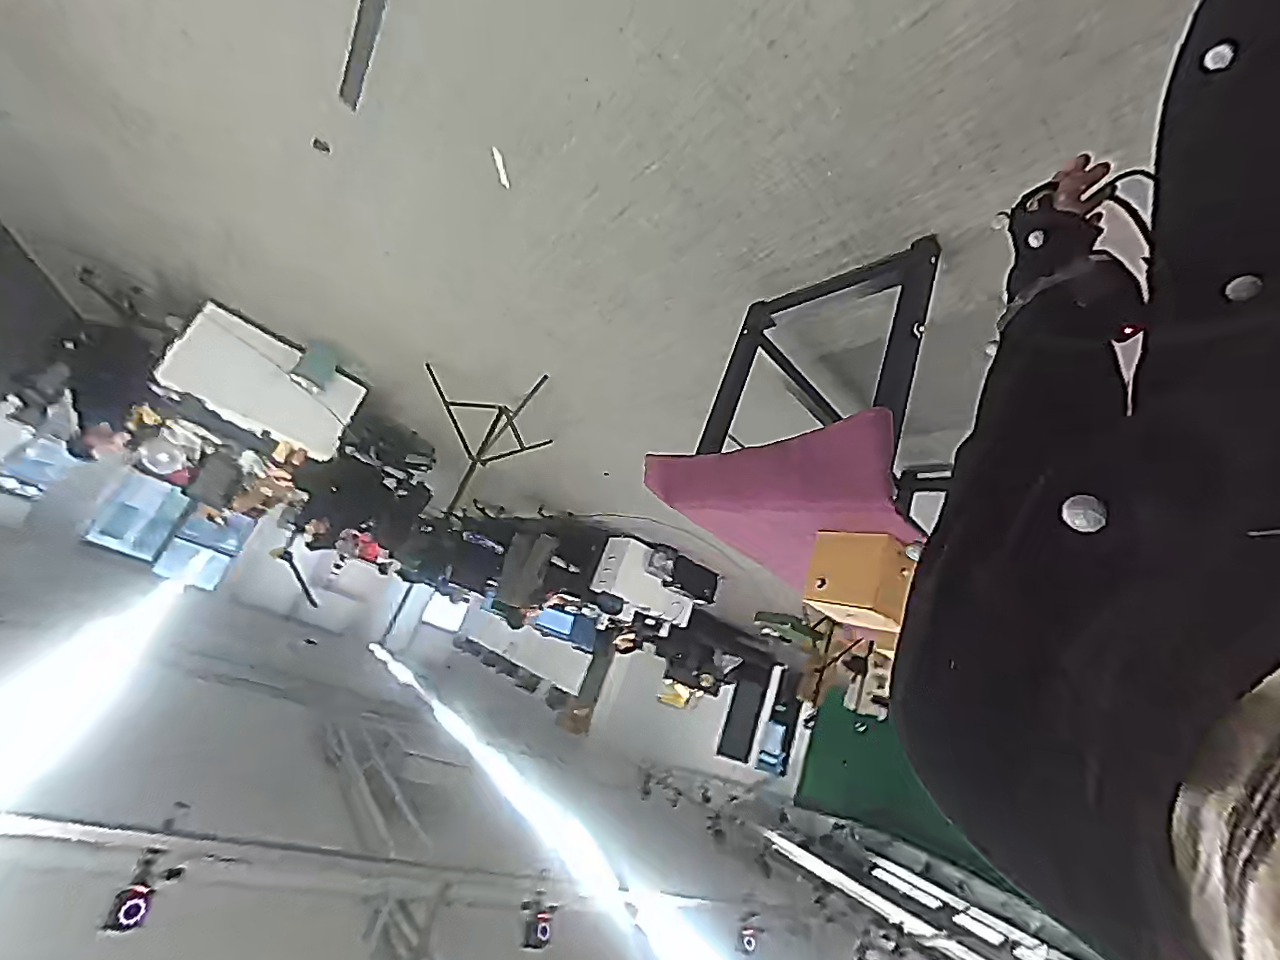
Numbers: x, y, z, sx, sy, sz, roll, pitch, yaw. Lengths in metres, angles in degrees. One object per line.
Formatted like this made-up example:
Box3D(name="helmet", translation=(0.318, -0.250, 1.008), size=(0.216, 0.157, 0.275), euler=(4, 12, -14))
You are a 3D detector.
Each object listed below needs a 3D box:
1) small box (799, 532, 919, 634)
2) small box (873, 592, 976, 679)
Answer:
Box3D(name="small box", translation=(0.490, 0.224, 1.205), size=(0.168, 0.176, 0.179), euler=(31, 159, -32))
Box3D(name="small box", translation=(0.751, 0.400, 1.423), size=(0.168, 0.176, 0.179), euler=(31, 159, -28))
